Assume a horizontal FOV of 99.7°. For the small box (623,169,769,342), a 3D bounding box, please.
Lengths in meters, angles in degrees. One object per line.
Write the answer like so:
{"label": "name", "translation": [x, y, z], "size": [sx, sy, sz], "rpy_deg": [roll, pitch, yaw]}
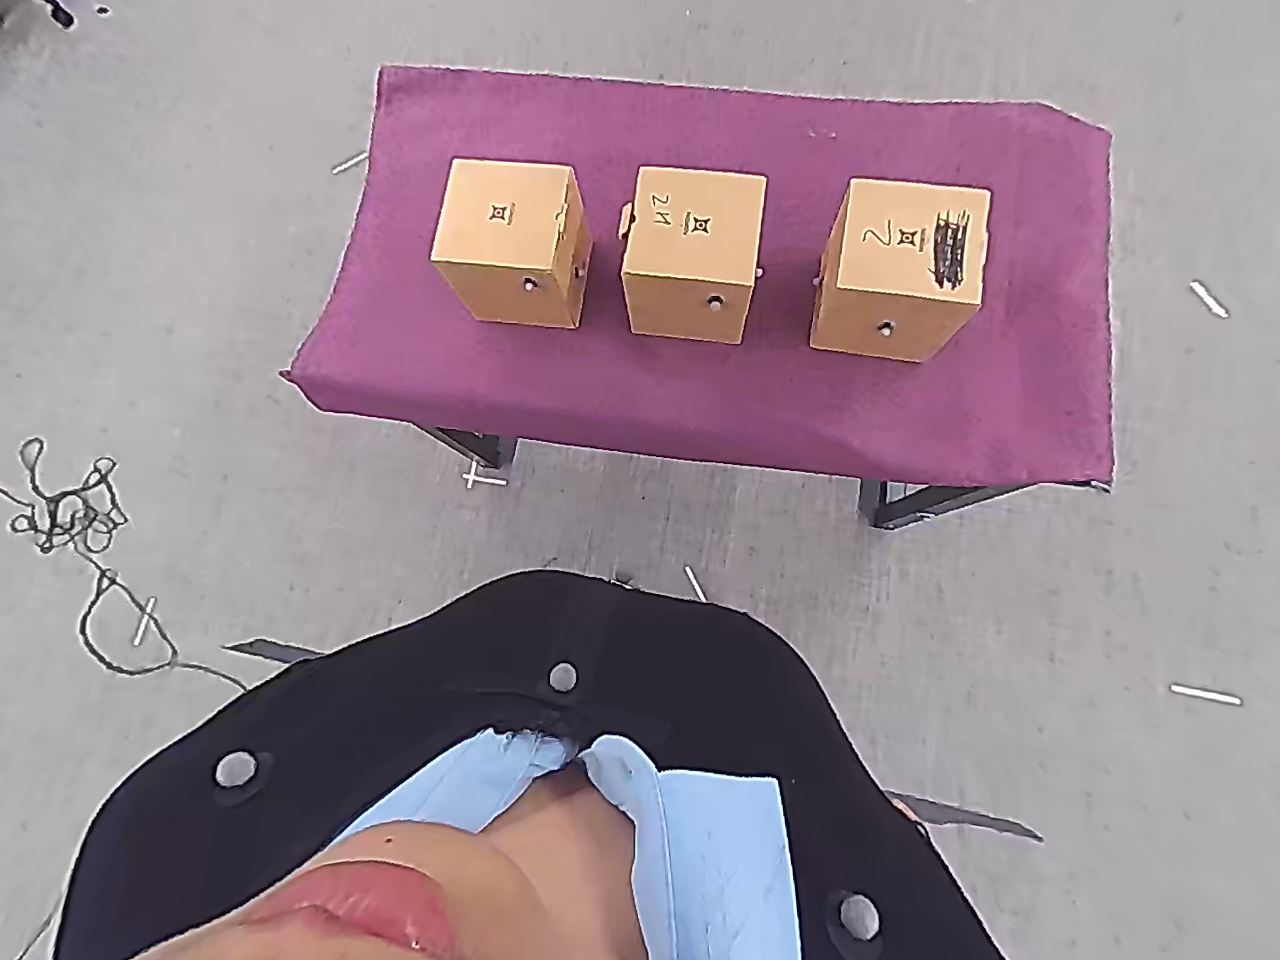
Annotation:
{"label": "small box", "translation": [0.081, -0.319, 0.794], "size": [0.179, 0.176, 0.168], "rpy_deg": [8, 78, 6]}

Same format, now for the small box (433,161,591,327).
{"label": "small box", "translation": [-0.183, -0.349, 0.824], "size": [0.179, 0.176, 0.168], "rpy_deg": [6, 78, 5]}
